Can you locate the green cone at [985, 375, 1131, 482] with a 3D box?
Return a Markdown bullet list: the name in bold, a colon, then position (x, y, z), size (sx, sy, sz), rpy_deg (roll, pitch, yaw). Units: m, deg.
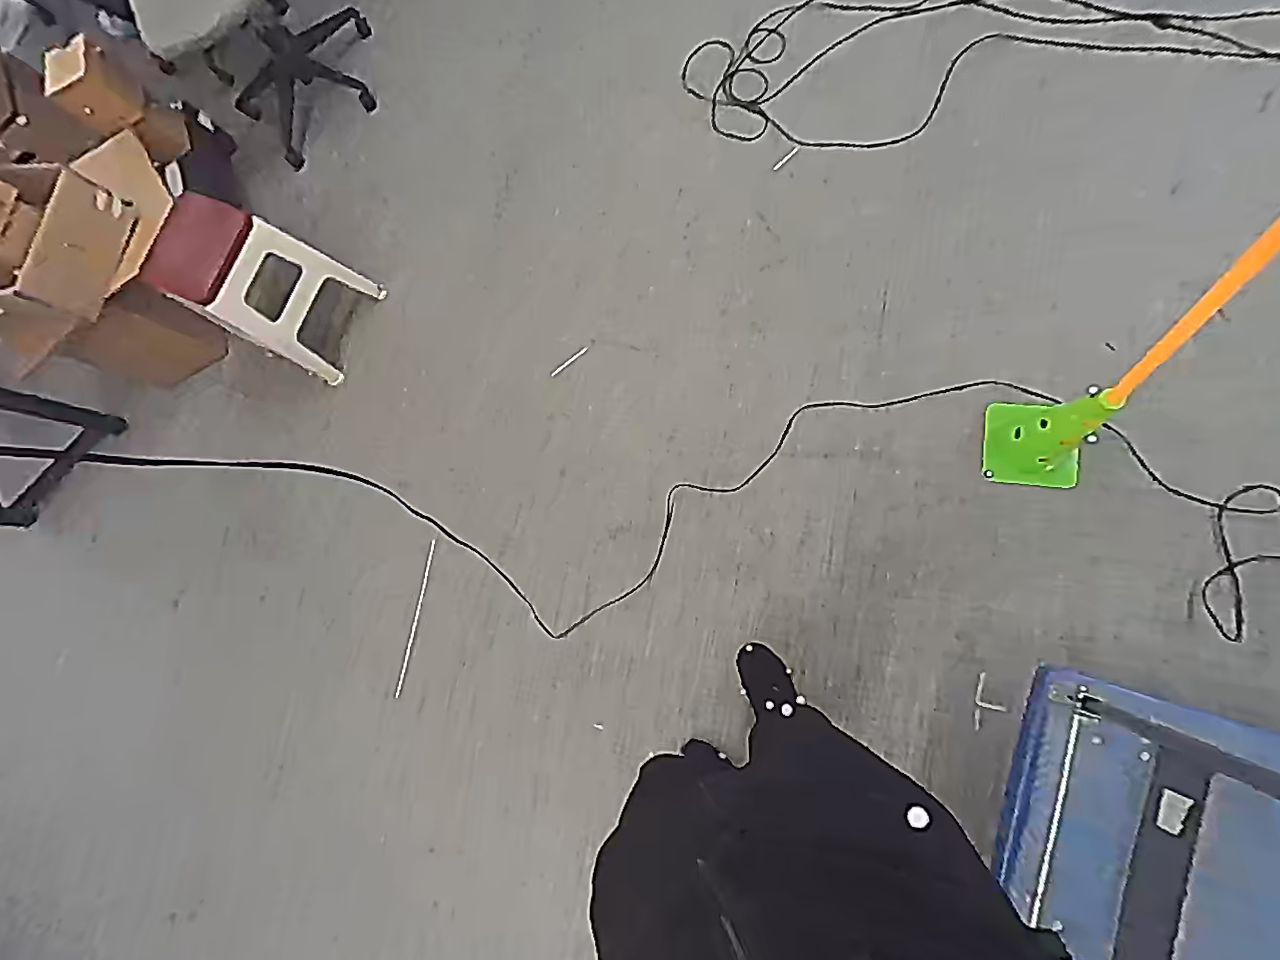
- **green cone**: position (0.906, -0.131, 1.139), size (0.200, 0.368, 0.202), rpy_deg (6, 81, 15)
